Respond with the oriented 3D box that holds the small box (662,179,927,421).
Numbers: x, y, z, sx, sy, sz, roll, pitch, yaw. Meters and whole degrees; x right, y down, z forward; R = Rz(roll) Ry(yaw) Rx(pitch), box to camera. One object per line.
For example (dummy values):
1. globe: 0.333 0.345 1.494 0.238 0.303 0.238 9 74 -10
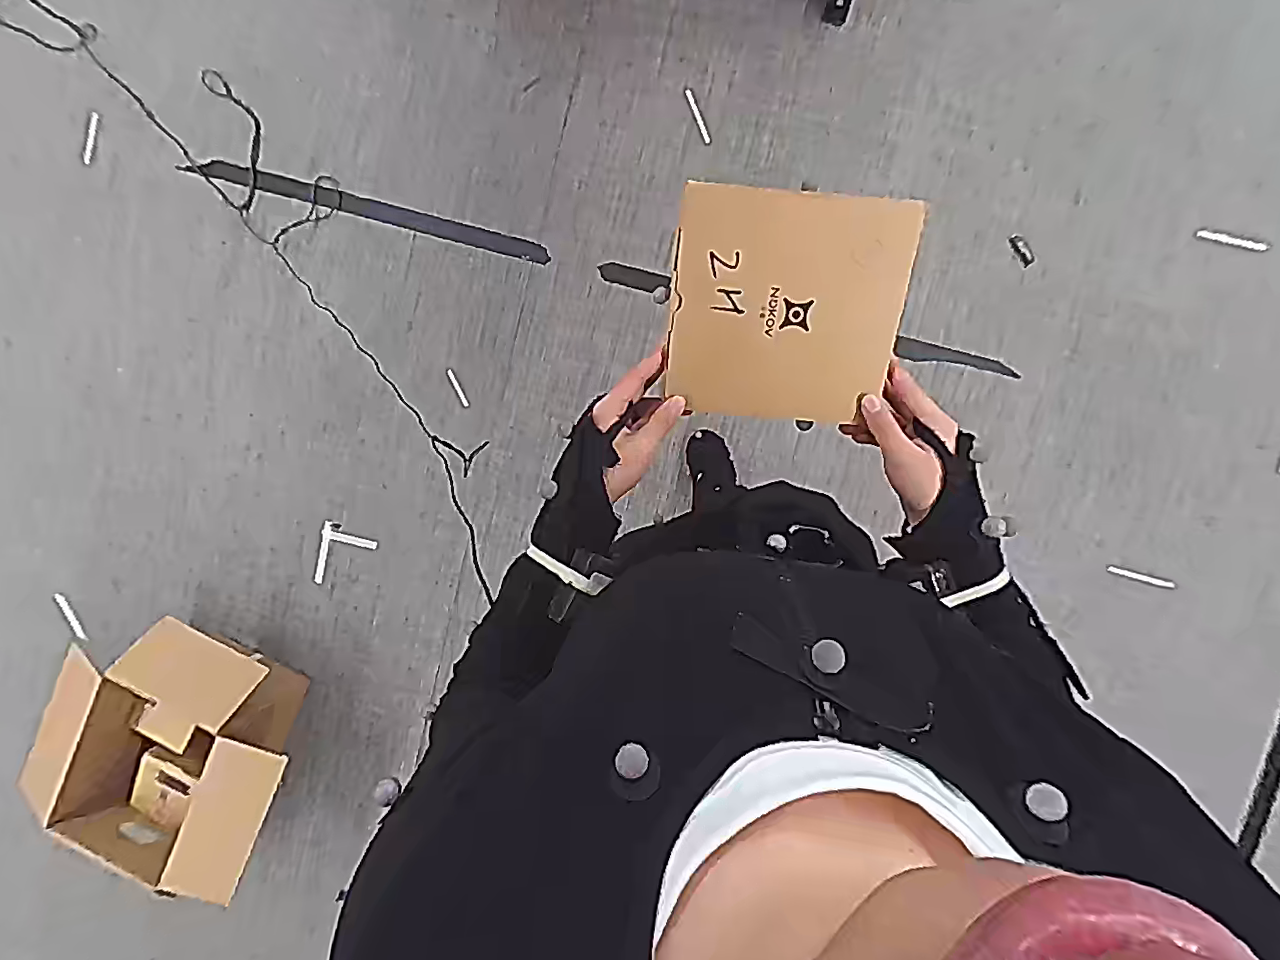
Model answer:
1. small box: 0.115 -0.160 0.488 0.179 0.176 0.168 6 110 1
